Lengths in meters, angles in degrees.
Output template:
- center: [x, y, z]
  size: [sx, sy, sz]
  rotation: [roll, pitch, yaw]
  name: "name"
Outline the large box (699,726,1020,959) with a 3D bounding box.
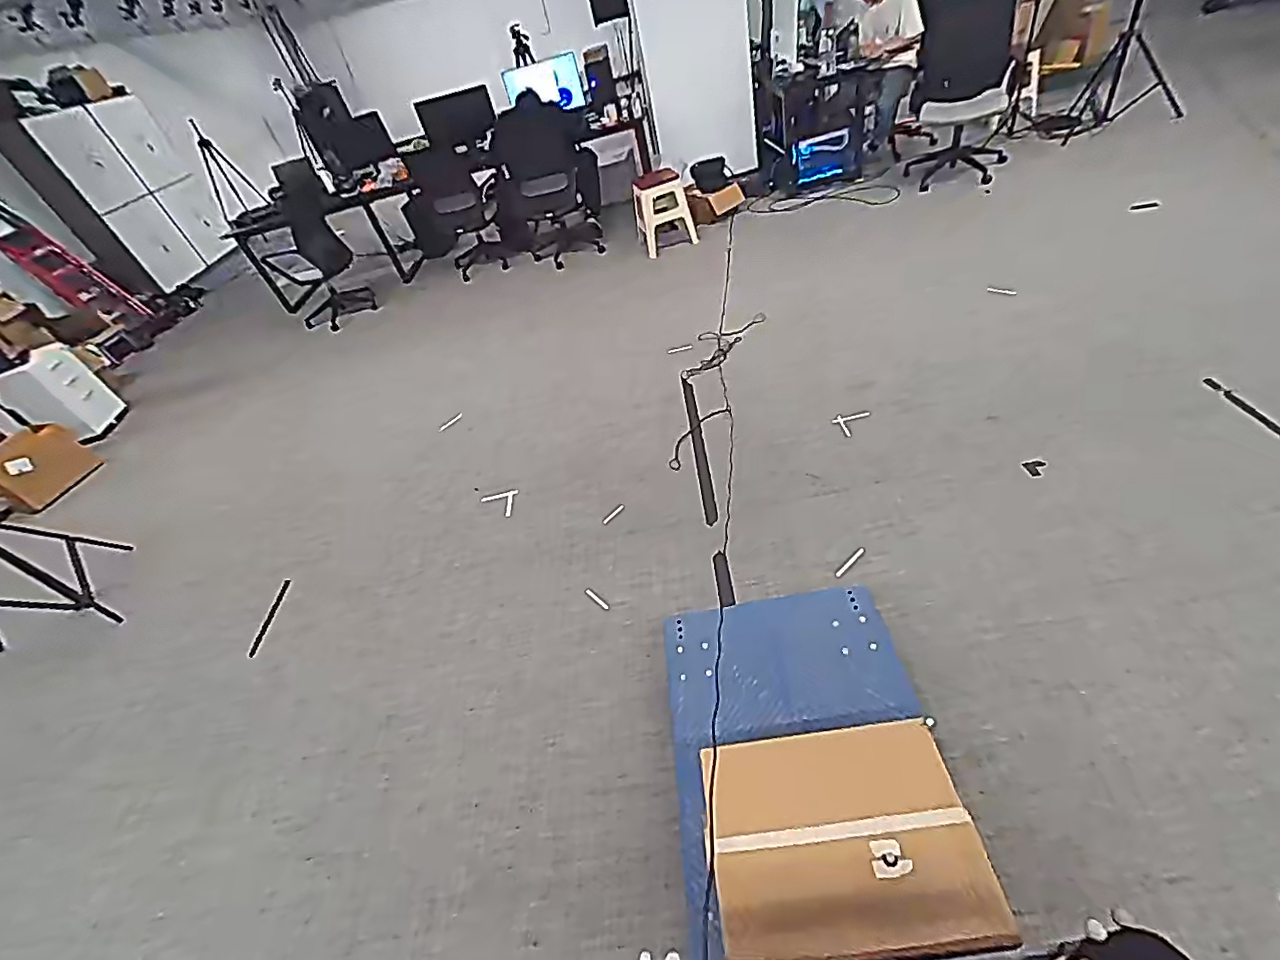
- center: [0.339, 0.679, 0.946]
  size: [0.408, 0.320, 0.320]
  rotation: [-11, 41, 6]
  name: "large box"
